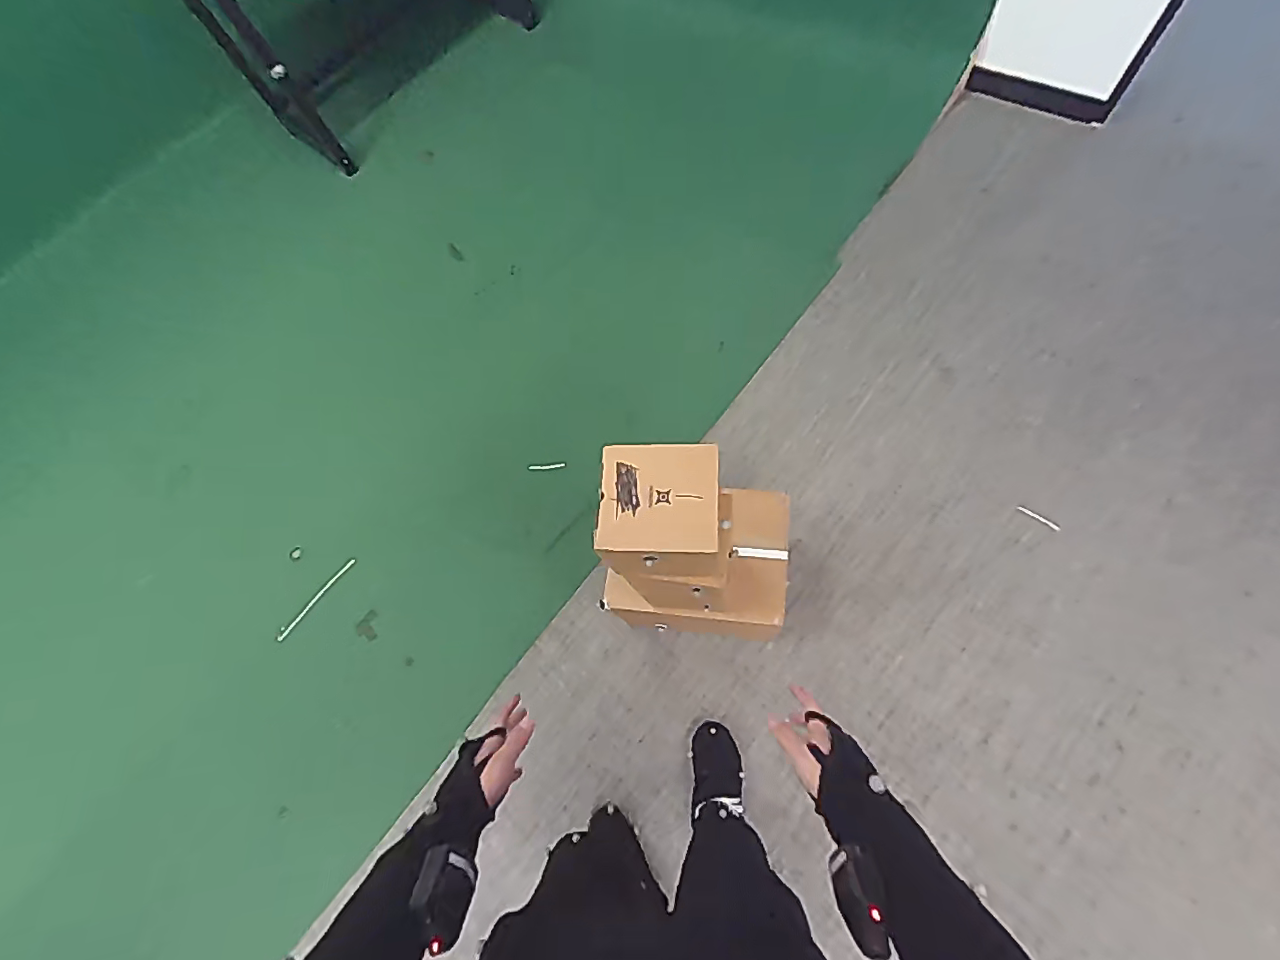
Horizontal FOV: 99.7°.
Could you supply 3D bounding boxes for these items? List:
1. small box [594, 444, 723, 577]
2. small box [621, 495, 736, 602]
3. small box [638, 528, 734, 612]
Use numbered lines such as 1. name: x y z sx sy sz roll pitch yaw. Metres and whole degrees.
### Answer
1. small box: 0.038 0.053 0.841 0.179 0.176 0.168 0 69 9
2. small box: 0.077 0.121 0.986 0.179 0.176 0.168 6 69 11
3. small box: 0.103 0.180 1.138 0.179 0.176 0.168 4 70 11
